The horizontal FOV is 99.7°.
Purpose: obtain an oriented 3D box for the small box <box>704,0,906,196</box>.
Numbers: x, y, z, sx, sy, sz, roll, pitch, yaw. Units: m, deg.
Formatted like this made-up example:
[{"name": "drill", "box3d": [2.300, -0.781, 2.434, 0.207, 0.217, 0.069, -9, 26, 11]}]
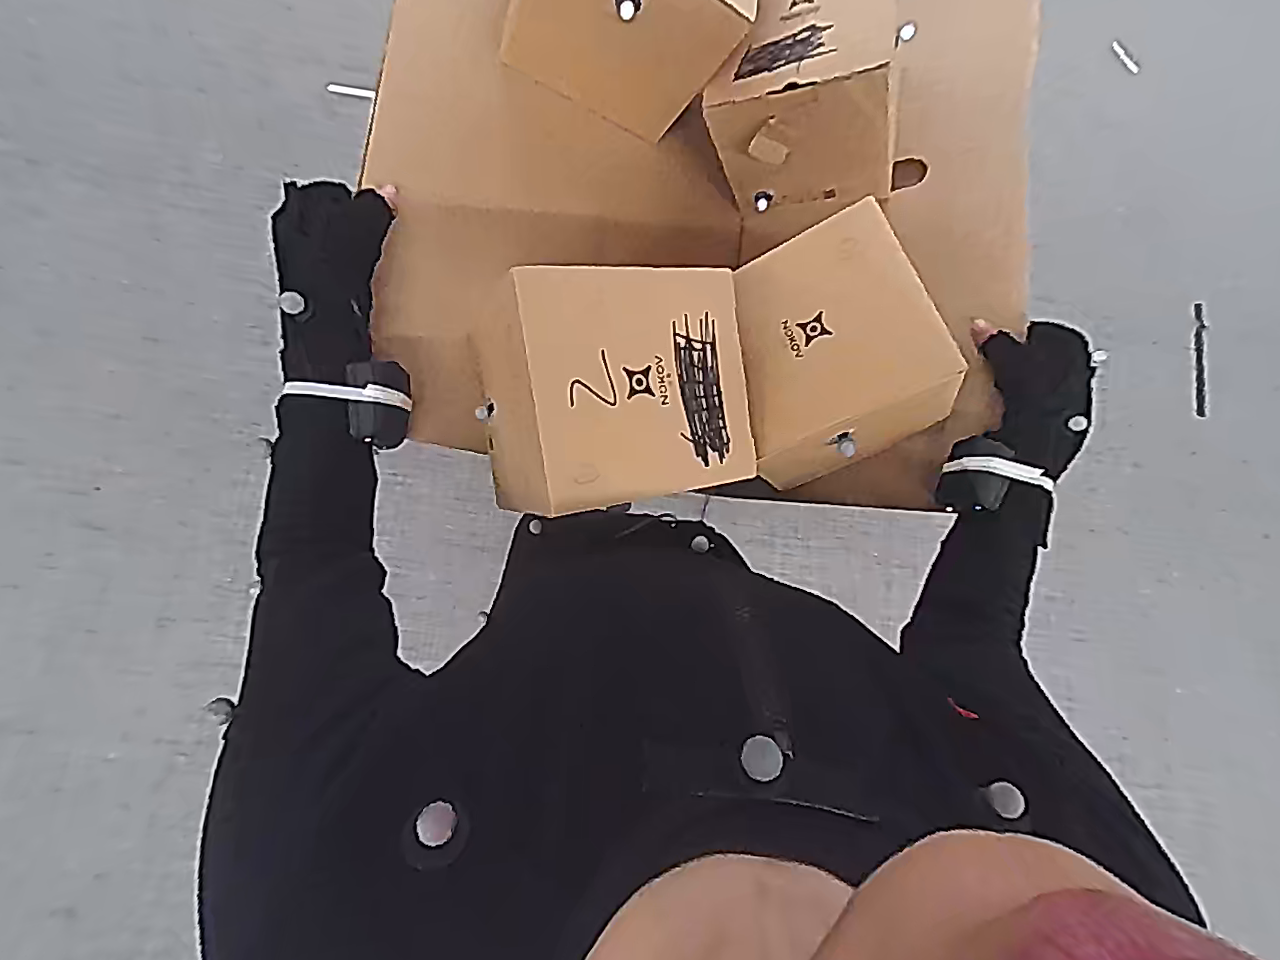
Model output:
[{"name": "small box", "box3d": [0.179, -0.424, 0.563, 0.168, 0.176, 0.179, 6, 81, 25]}]
